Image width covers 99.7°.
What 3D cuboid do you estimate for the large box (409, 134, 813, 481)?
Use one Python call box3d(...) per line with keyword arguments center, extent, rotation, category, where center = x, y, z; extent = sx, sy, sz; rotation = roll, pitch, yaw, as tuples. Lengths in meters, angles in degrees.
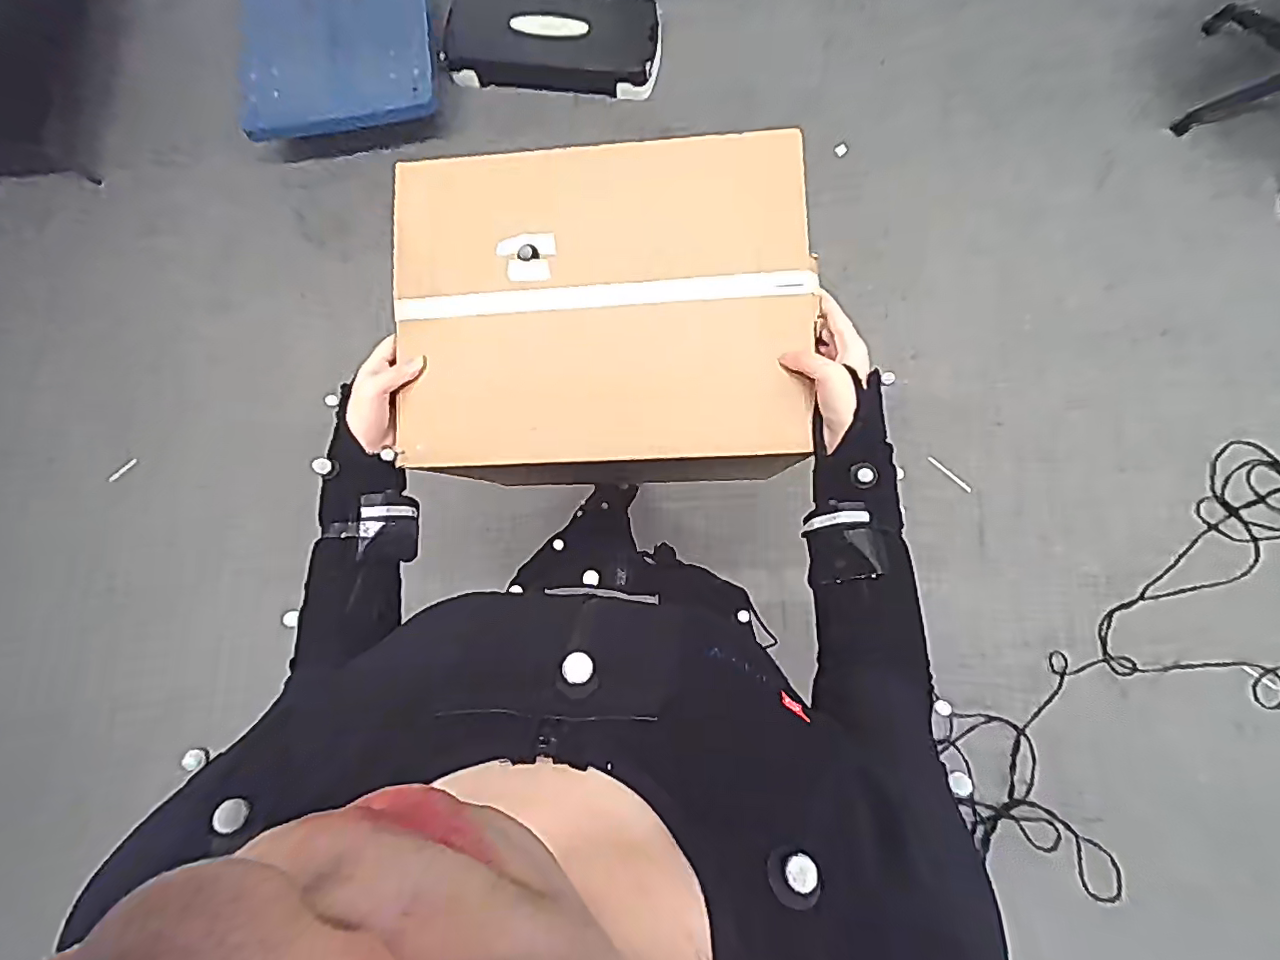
box3d(center=(-0.023, -0.168, 0.686), extent=(0.408, 0.320, 0.320), rotation=(-2, 85, 6), category="large box")
